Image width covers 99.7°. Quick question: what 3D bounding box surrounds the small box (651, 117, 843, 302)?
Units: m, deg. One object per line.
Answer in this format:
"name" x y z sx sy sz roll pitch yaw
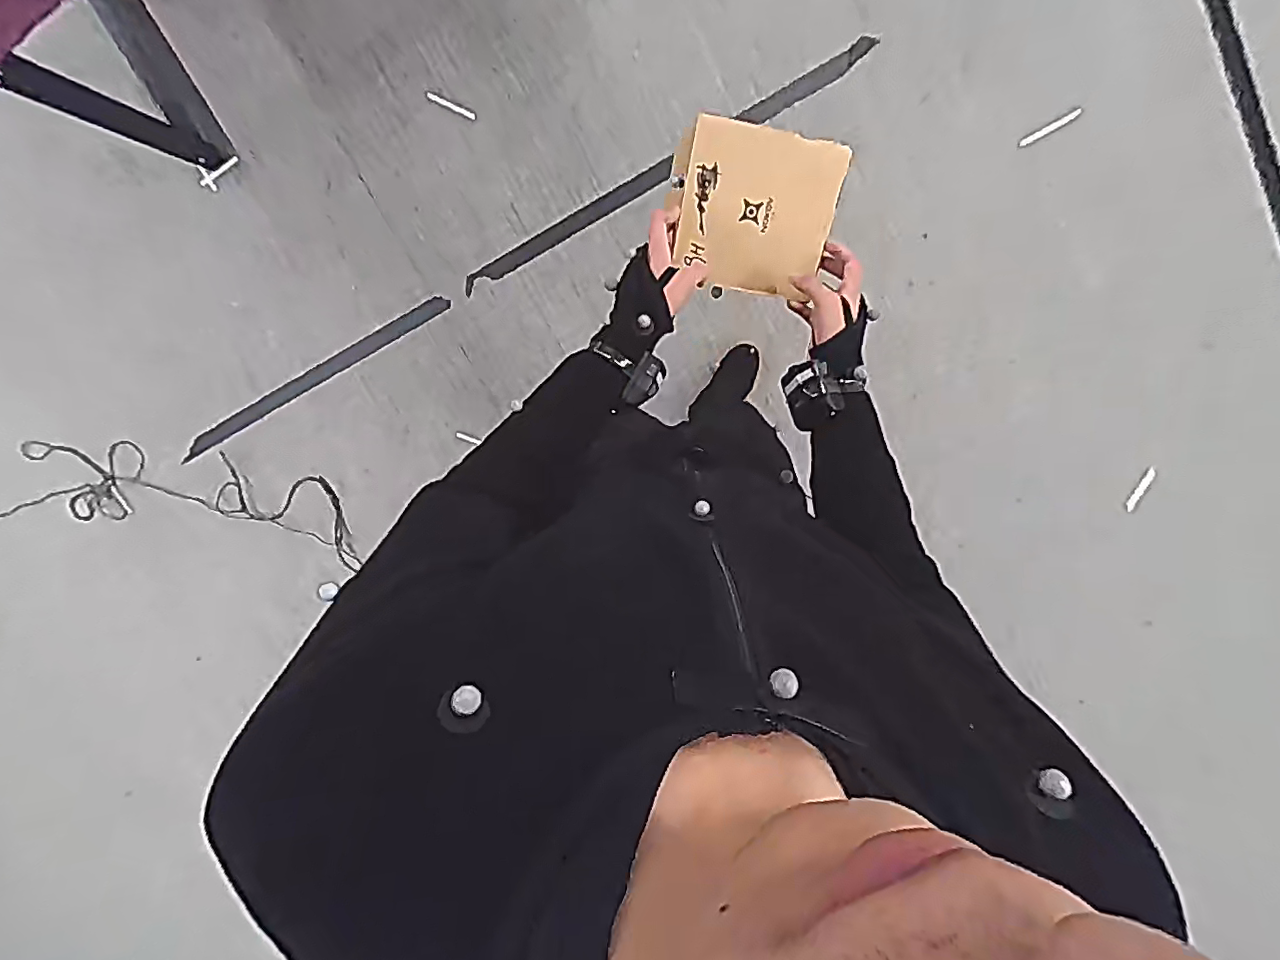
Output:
"small box" 0.120 -0.334 0.687 0.179 0.176 0.168 7 113 -8
